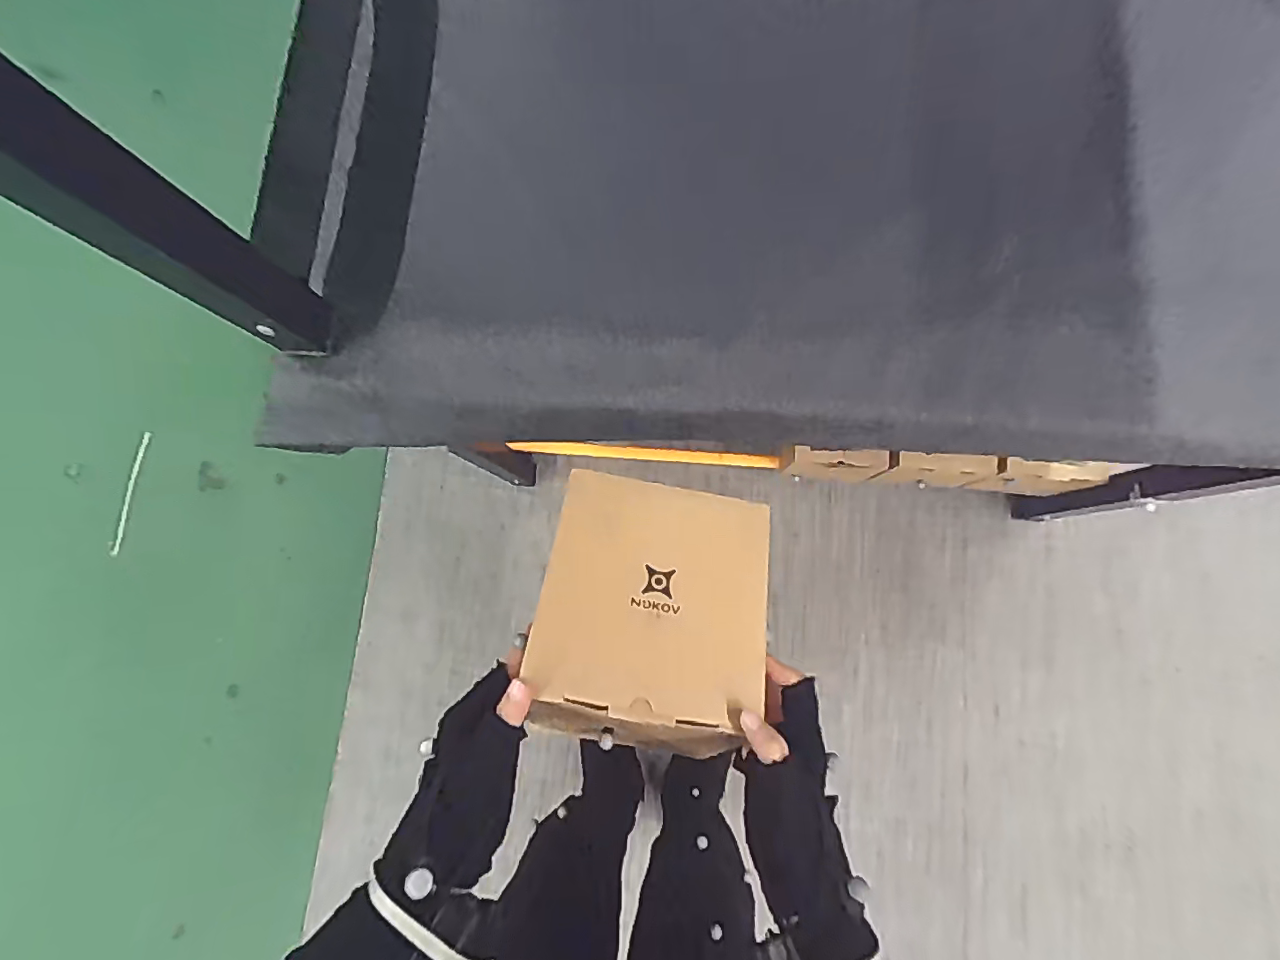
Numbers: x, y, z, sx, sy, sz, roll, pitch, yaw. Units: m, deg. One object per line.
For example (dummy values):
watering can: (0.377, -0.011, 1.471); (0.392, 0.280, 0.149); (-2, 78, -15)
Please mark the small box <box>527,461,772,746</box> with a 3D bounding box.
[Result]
small box: (0.006, 0.112, 0.463); (0.168, 0.176, 0.179); (10, 58, -2)
